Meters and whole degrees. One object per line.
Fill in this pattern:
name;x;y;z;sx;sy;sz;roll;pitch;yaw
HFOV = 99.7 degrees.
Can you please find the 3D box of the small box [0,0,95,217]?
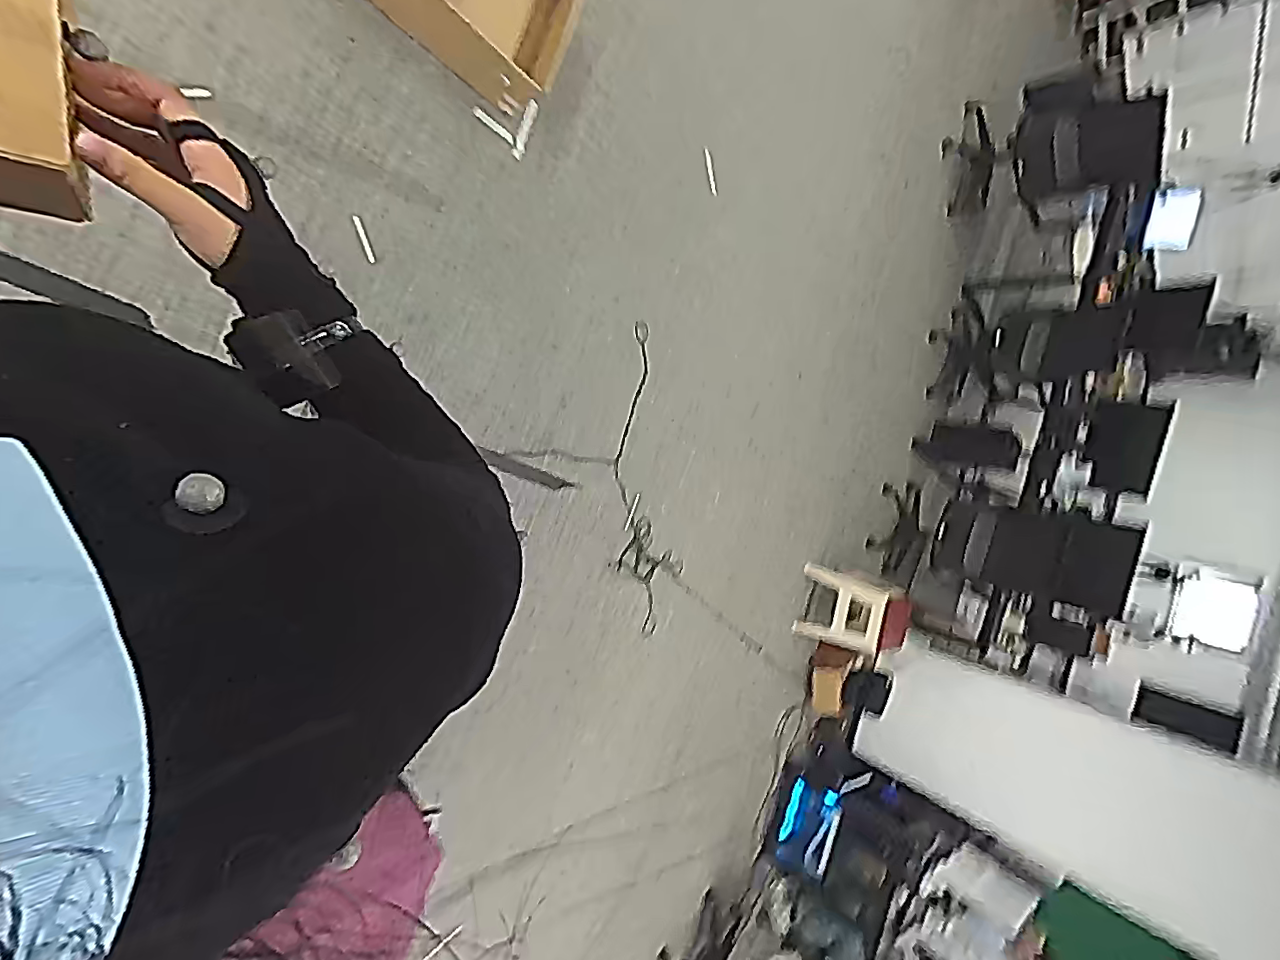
small box;-0.408;-0.264;0.285;0.168;0.176;0.179;-2;102;-44
